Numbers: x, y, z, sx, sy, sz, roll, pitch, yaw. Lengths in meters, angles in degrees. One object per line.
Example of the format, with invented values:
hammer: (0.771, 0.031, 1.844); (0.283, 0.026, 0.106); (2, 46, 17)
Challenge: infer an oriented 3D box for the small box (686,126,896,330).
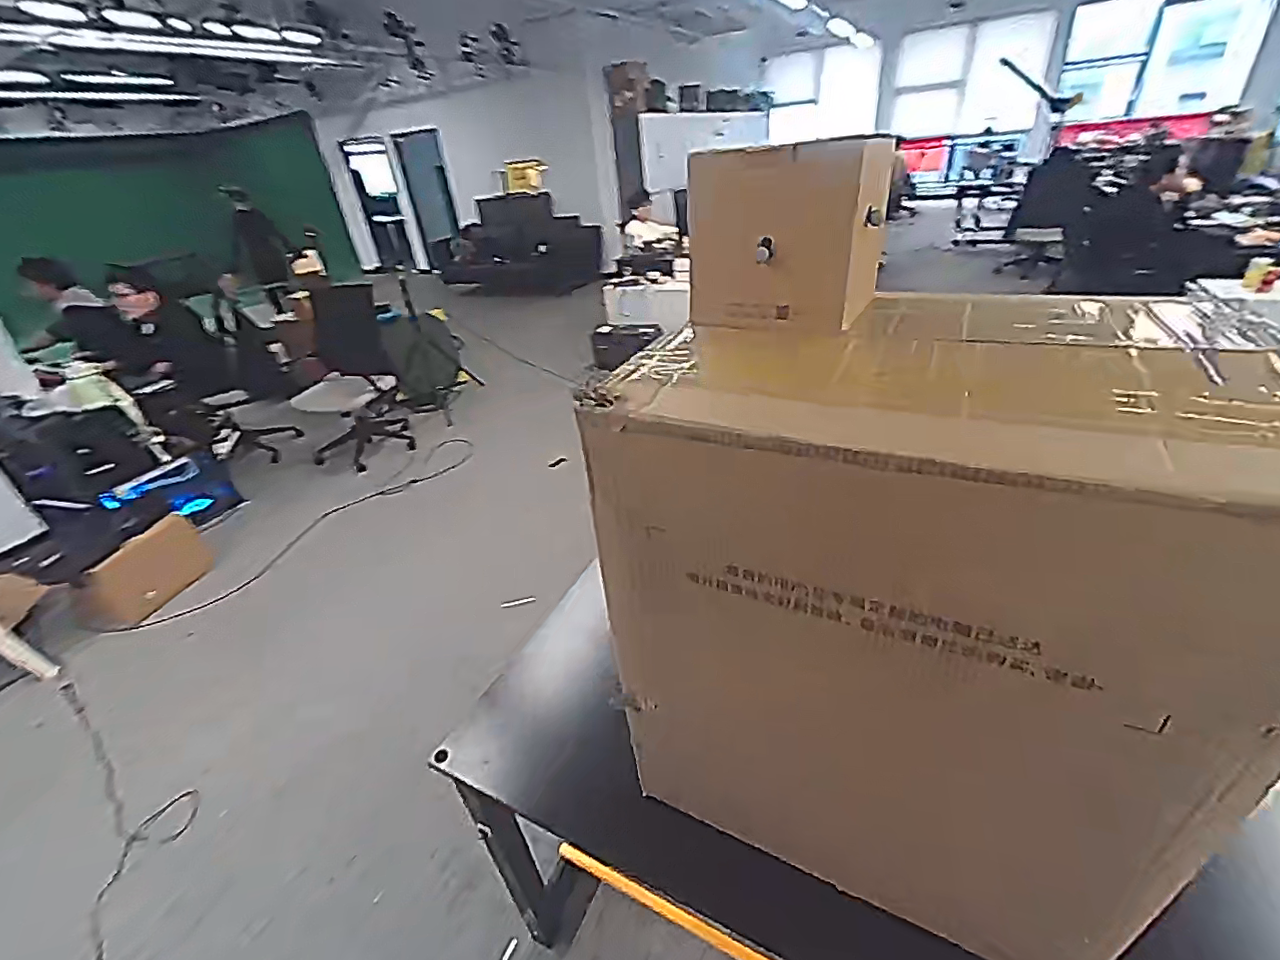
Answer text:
small box: (0.162, -0.267, 0.578); (0.168, 0.176, 0.179); (13, 35, 27)
